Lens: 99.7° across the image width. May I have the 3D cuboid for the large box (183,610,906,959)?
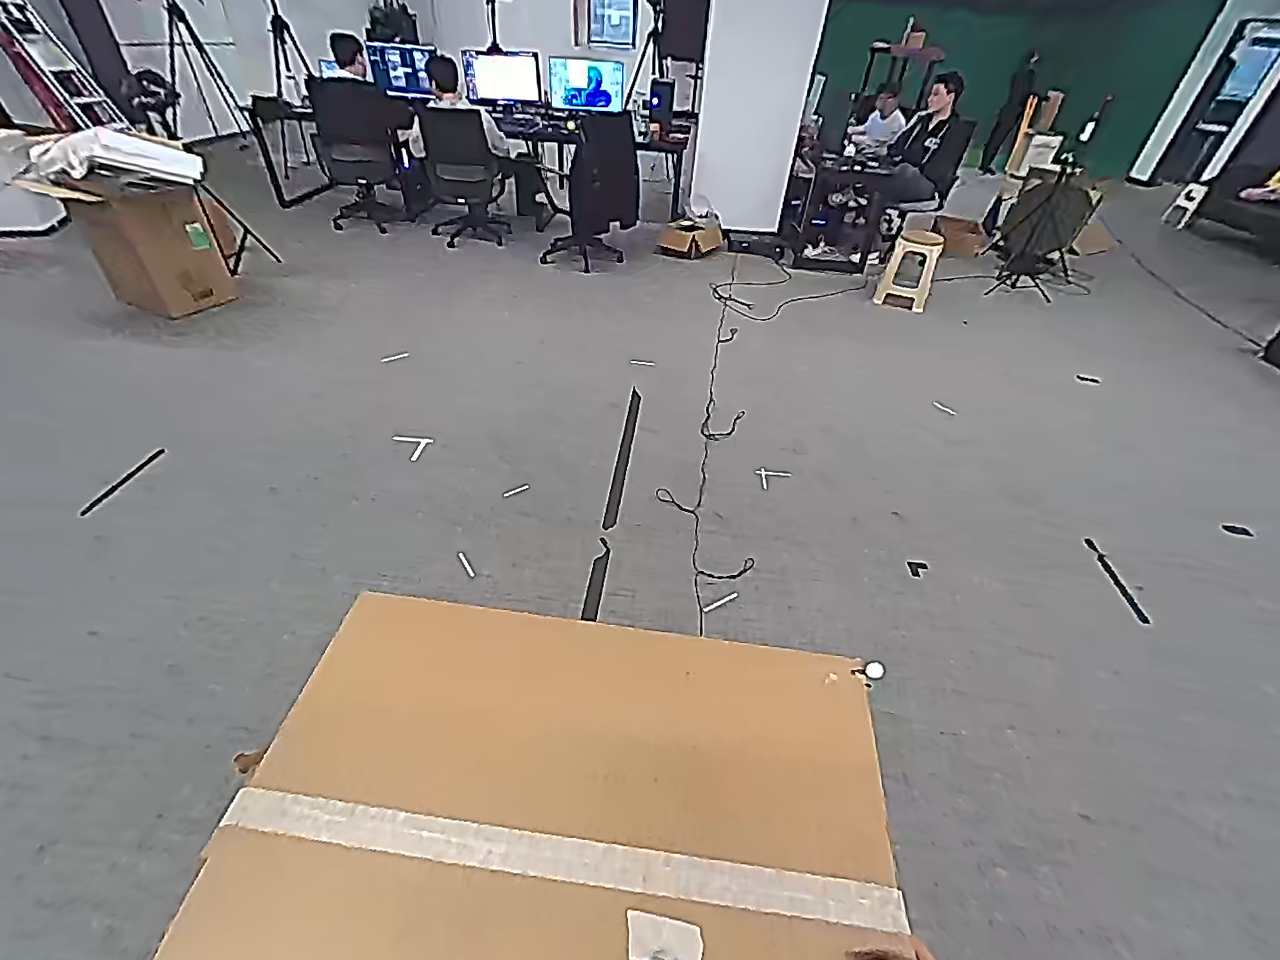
[{"bbox_3d":[-0.052,0.339,0.436,0.408,0.320,0.320,7,47,3],"label":"large box"}]
